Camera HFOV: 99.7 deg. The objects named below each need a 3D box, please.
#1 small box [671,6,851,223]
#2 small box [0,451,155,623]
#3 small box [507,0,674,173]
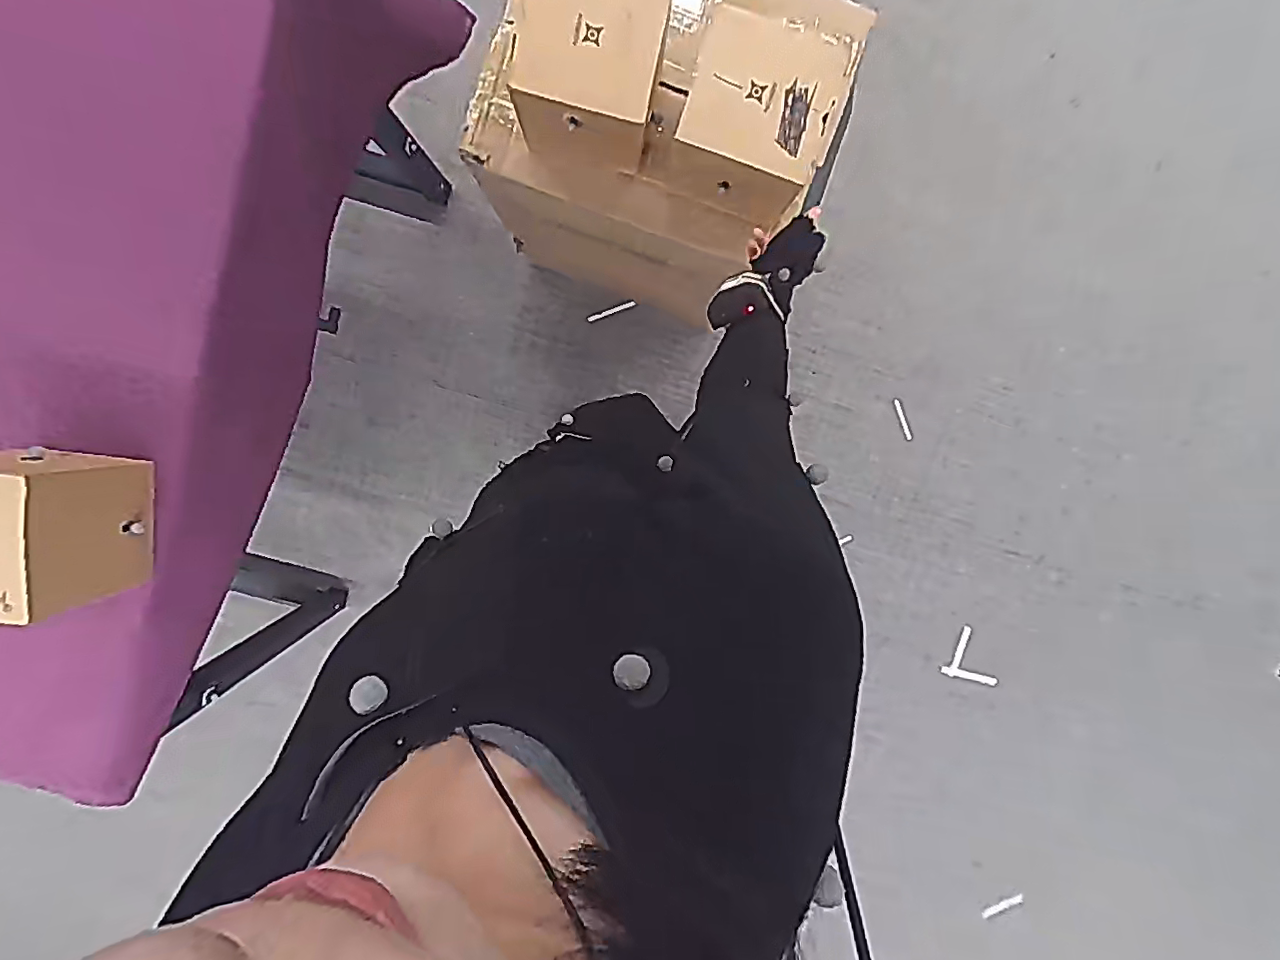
[{"bbox_3d":[0.151,-0.479,0.743,0.179,0.176,0.168,18,96,-2],"label":"small box"},{"bbox_3d":[-0.758,0.059,0.675,0.168,0.176,0.179,6,96,-2],"label":"small box"},{"bbox_3d":[-0.063,-0.547,0.731,0.179,0.176,0.168,13,98,-5],"label":"small box"}]
